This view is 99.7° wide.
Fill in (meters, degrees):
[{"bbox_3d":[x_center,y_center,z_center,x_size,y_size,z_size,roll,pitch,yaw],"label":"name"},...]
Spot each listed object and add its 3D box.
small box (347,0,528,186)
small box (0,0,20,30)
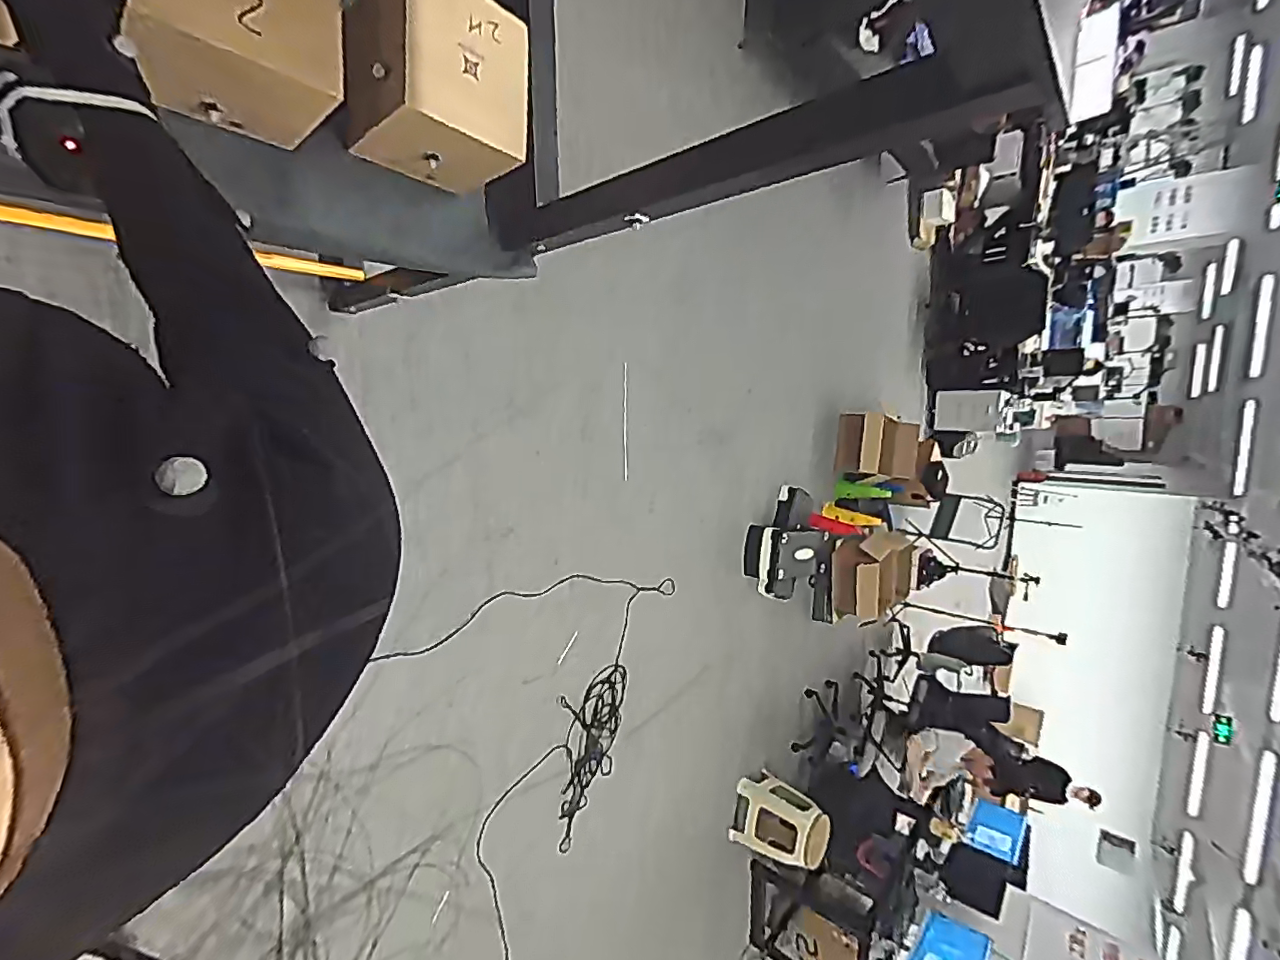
[{"bbox_3d":[-0.265,-0.517,0.707,0.168,0.176,0.179,-3,97,-49],"label":"small box"},{"bbox_3d":[-0.561,-0.481,0.380,0.168,0.176,0.179,2,94,-49],"label":"small box"}]
